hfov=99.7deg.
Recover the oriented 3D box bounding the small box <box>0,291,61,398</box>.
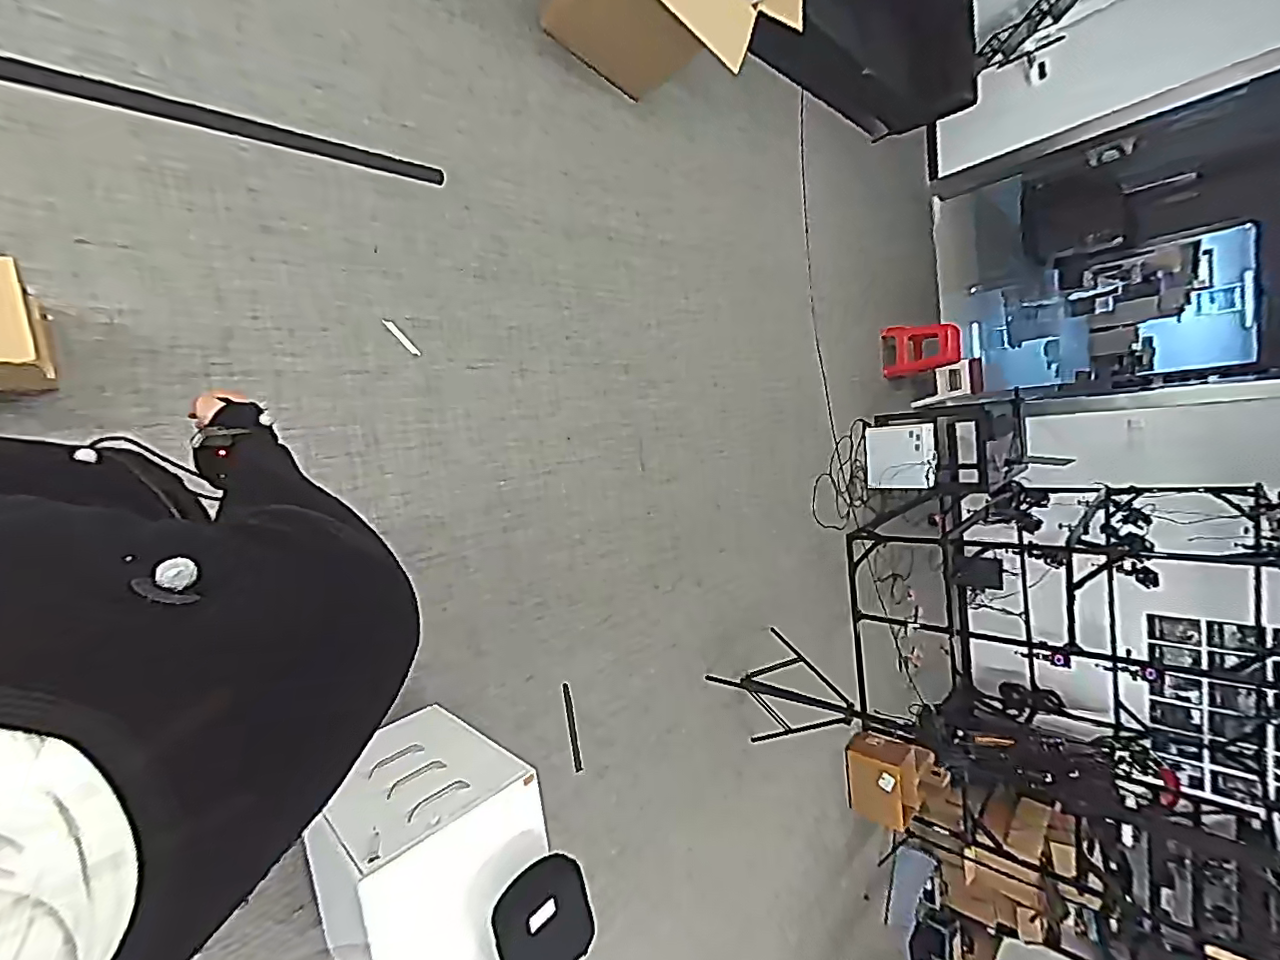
[{"bbox_3d":[-1.238,-0.252,1.023,0.168,0.176,0.179,-15,100,-43],"label":"small box"}]

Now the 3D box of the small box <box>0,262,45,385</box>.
[{"bbox_3d":[-1.131,-0.256,0.897,0.168,0.176,0.179,-13,98,-43],"label":"small box"}]
